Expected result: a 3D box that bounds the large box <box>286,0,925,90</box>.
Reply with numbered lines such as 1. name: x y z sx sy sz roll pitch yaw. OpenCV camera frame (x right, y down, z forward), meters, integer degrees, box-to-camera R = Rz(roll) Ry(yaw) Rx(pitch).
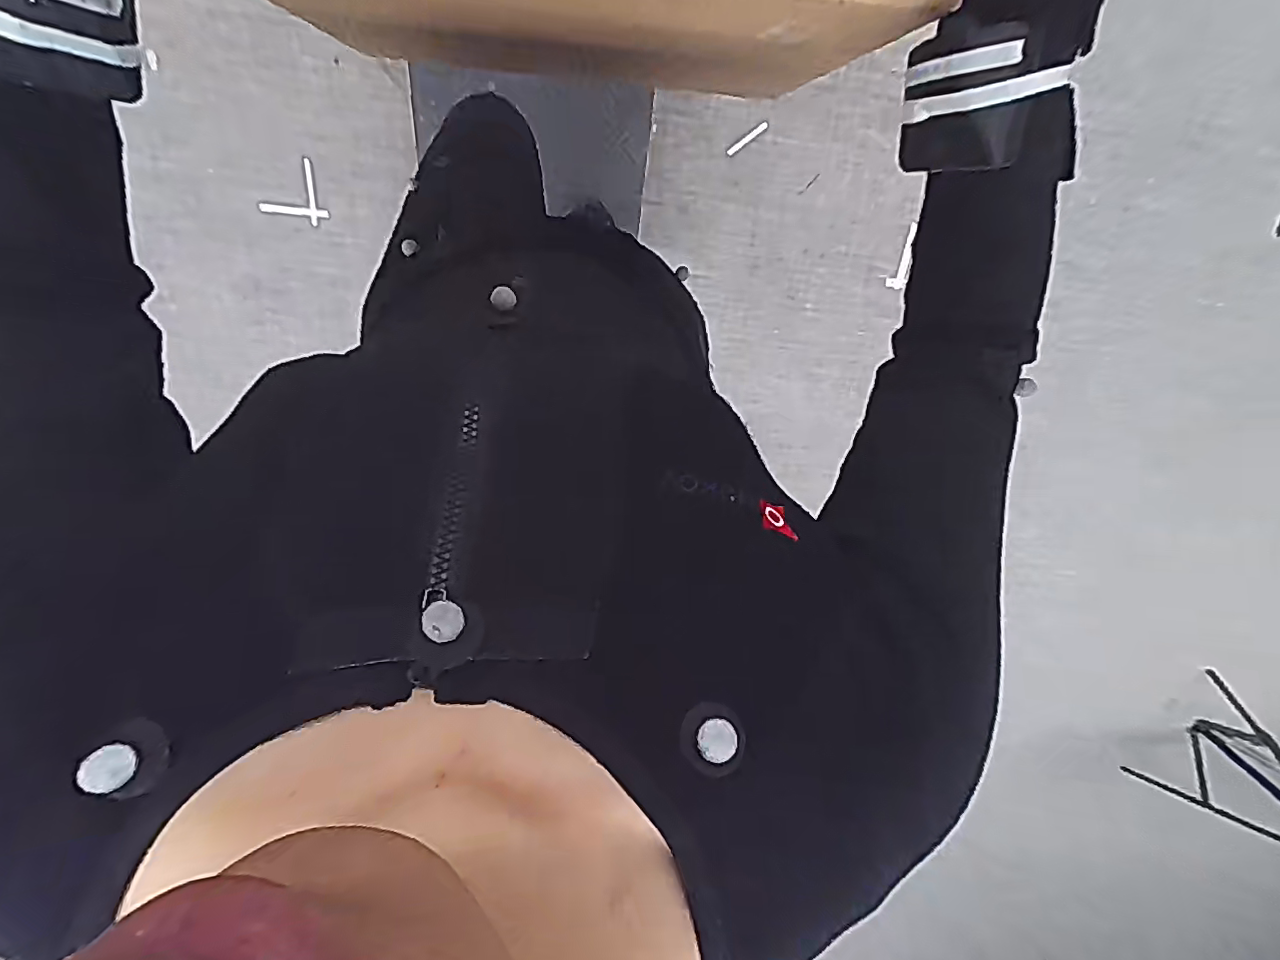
1. large box: -0.038 -0.462 0.330 0.408 0.320 0.320 1 119 -6
